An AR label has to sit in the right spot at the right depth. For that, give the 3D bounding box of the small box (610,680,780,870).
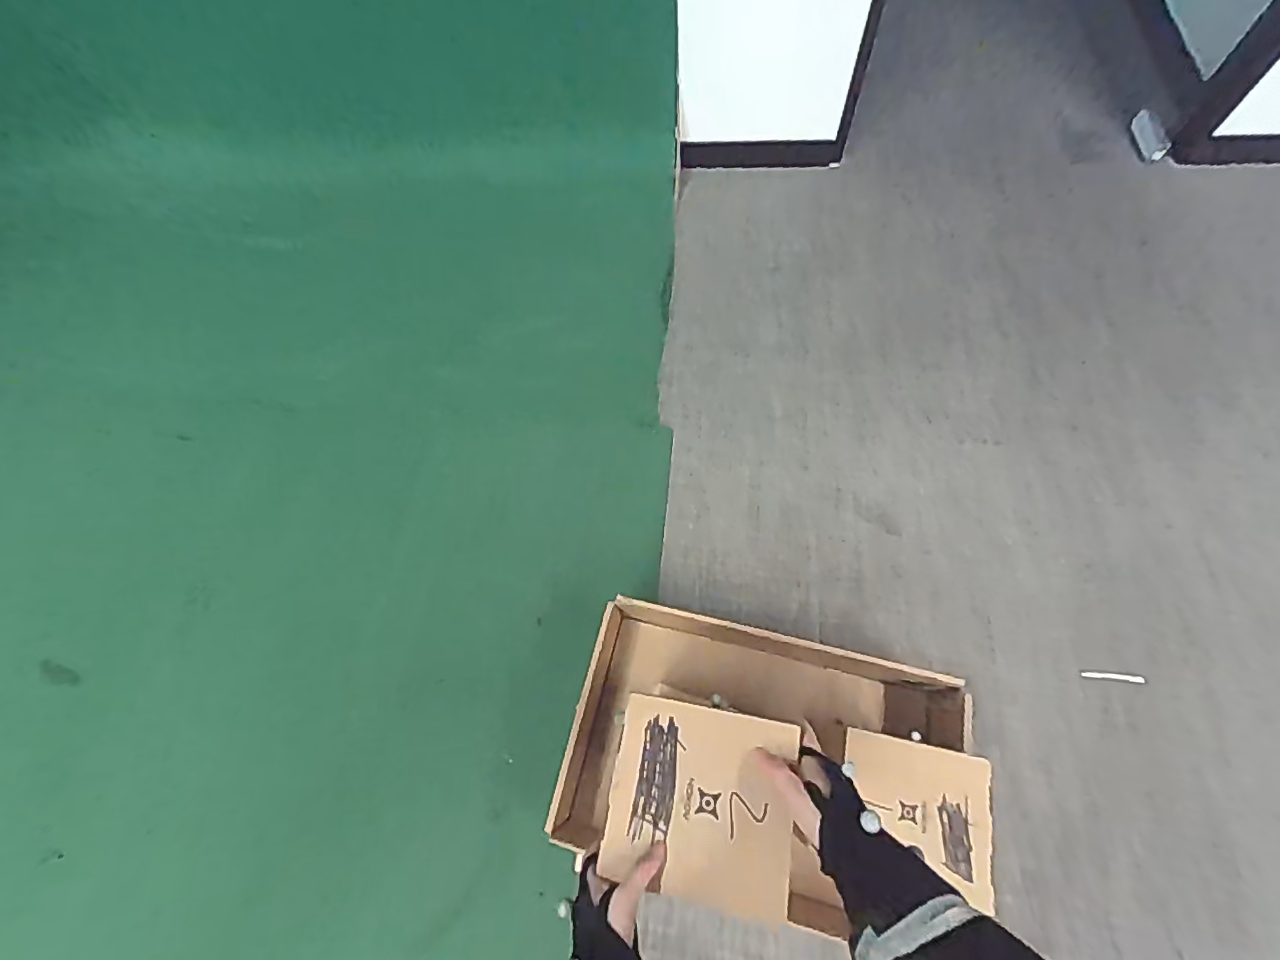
[{"bbox_3d":[0.075,0.403,0.764,0.179,0.176,0.168,22,70,11],"label":"small box"}]

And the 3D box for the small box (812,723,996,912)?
[{"bbox_3d":[0.342,0.430,0.724,0.179,0.176,0.168,9,68,11],"label":"small box"}]
